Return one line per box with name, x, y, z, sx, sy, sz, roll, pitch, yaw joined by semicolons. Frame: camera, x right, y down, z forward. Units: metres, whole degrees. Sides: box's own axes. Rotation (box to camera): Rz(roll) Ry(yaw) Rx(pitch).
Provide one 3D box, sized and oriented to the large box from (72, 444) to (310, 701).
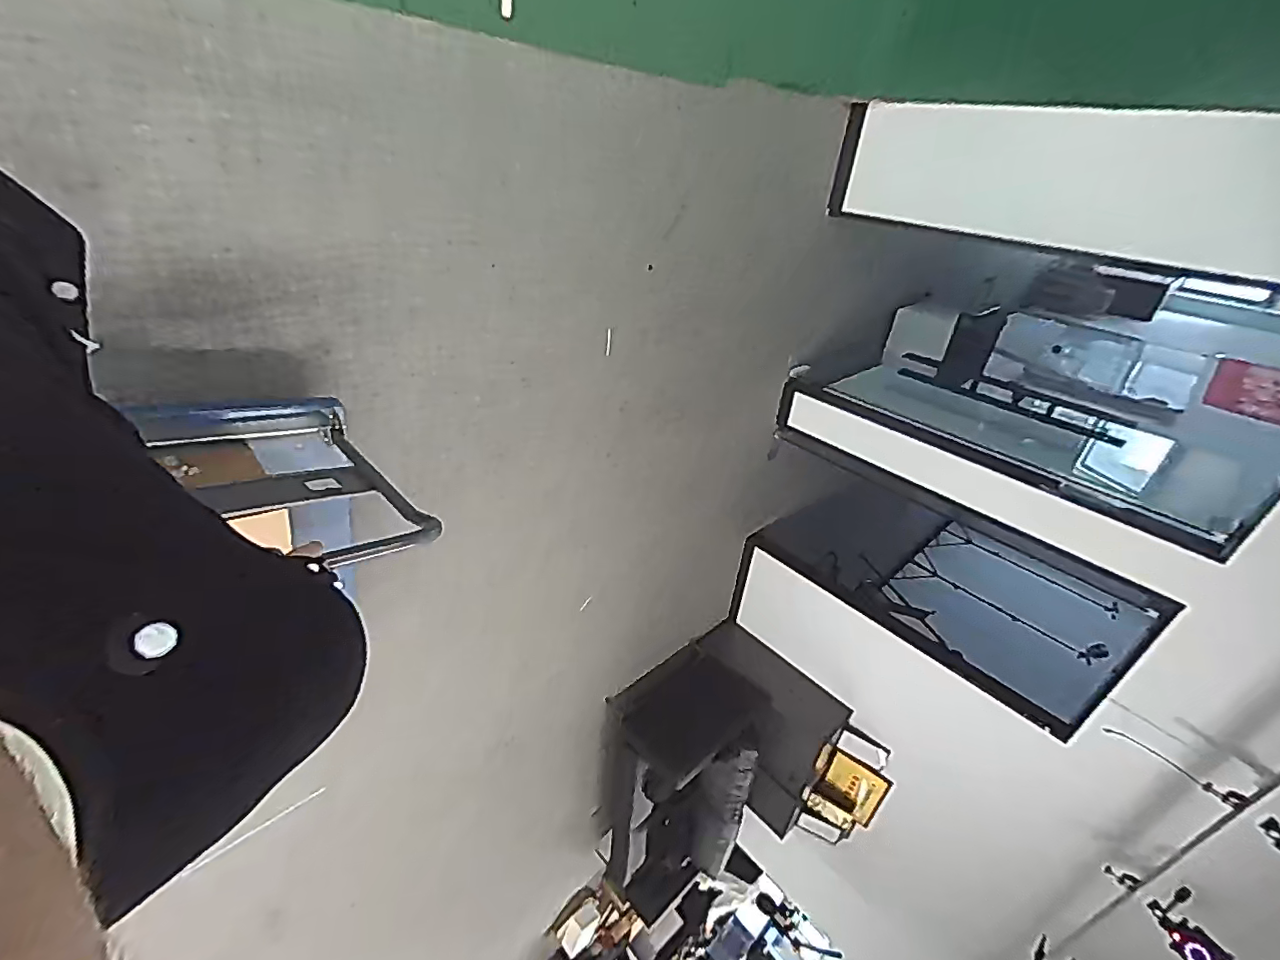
large box;-0.965;0.179;1.187;0.320;0.320;0.408;-15;127;-42
